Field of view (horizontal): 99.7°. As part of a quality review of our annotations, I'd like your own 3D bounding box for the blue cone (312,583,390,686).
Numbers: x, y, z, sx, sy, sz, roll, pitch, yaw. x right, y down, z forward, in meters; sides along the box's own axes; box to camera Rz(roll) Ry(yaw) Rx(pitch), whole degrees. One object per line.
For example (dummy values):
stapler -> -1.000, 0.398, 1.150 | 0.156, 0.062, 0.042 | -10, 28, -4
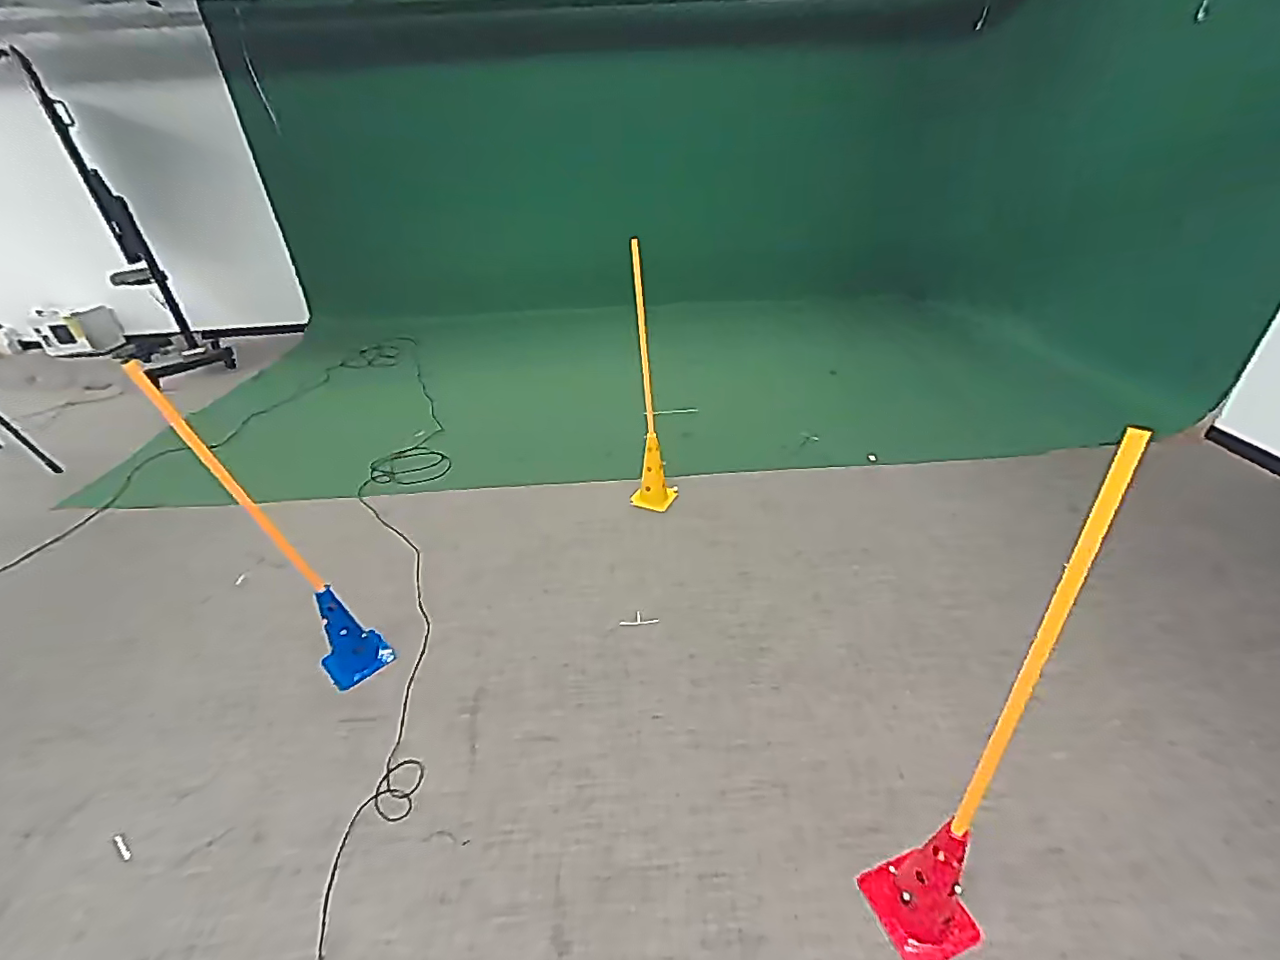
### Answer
blue cone -> -1.017, 0.500, 1.830 | 0.192, 0.380, 0.193 | 25, 44, 35
